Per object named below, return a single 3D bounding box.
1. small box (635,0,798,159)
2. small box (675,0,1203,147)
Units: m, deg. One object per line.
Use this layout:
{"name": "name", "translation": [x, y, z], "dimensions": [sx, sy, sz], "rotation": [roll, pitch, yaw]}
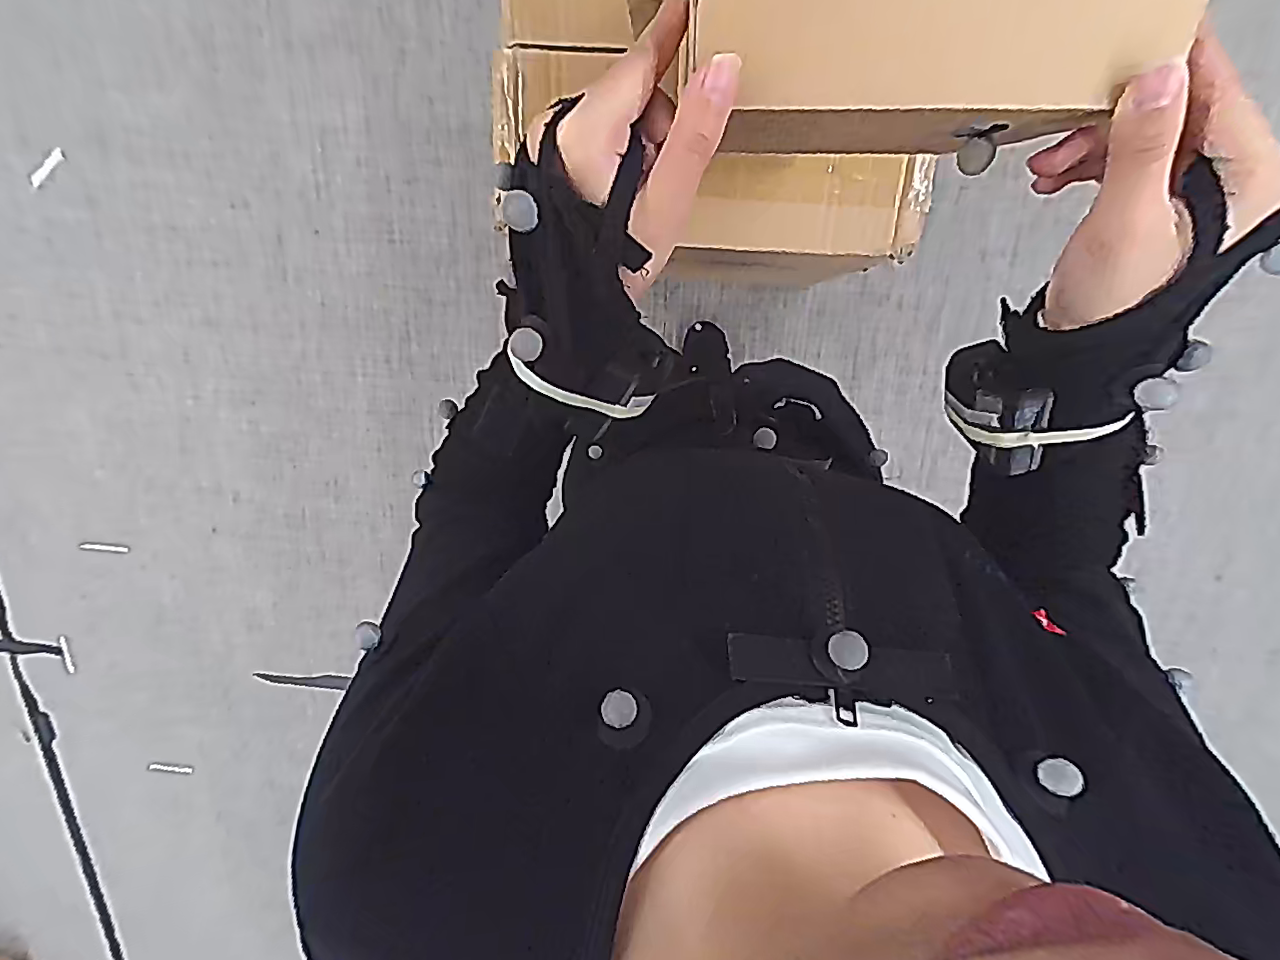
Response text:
{"name": "small box", "translation": [0.094, -0.437, 0.539], "dimensions": [0.179, 0.176, 0.168], "rotation": [5, 107, 3]}
{"name": "small box", "translation": [0.107, -0.249, 0.231], "dimensions": [0.179, 0.176, 0.168], "rotation": [2, 116, 2]}
